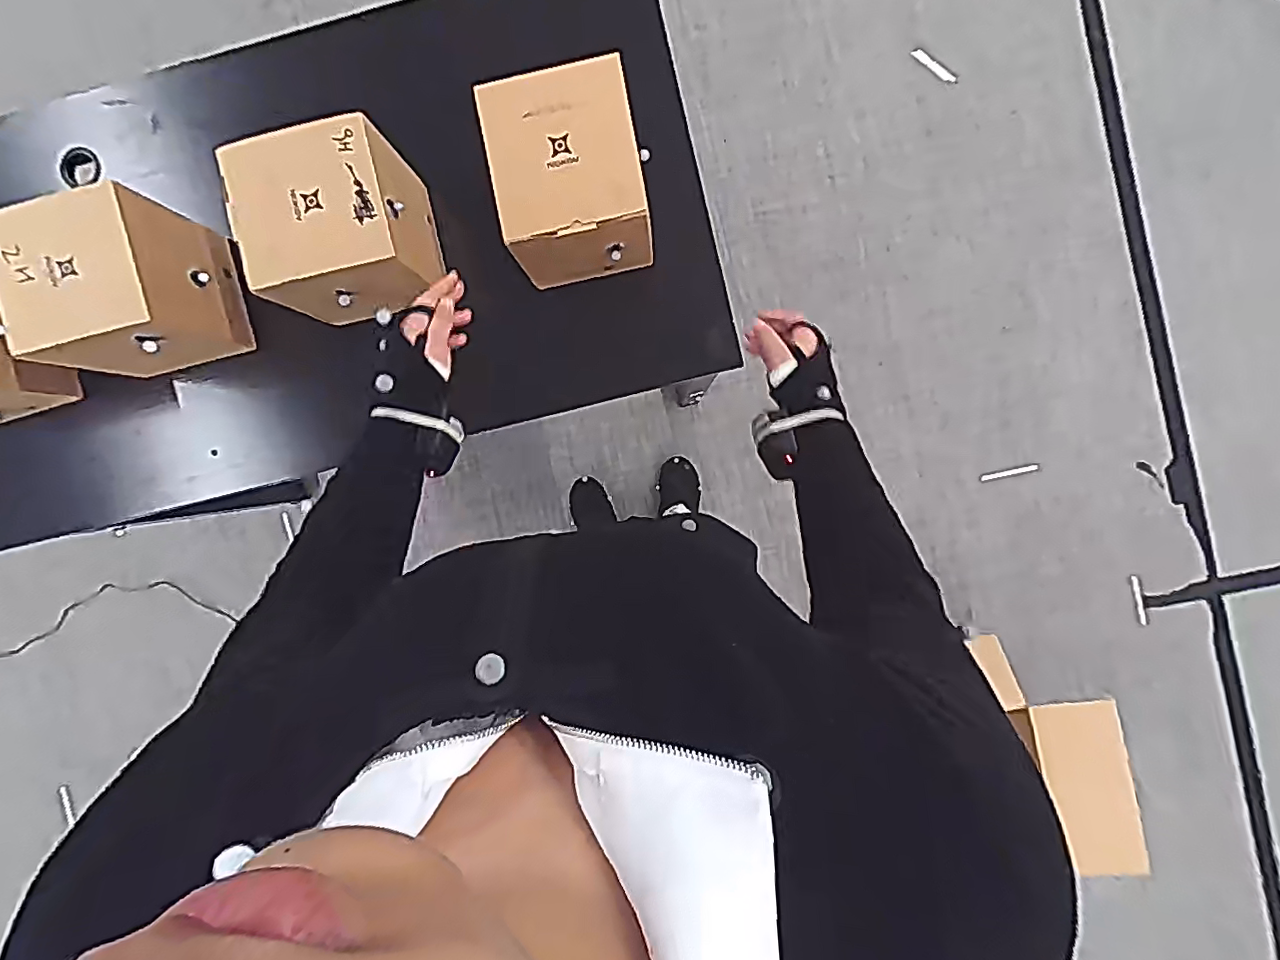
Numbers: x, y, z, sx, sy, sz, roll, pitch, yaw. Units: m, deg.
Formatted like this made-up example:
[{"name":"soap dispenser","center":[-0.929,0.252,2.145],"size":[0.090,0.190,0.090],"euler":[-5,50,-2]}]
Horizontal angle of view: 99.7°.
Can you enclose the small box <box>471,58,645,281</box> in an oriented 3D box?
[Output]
[{"name":"small box","center":[-0.089,-0.366,0.677],"size":[0.168,0.176,0.179],"euler":[-11,91,2]}]

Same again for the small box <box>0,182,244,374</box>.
[{"name":"small box","center":[-0.659,-0.246,0.700],"size":[0.179,0.176,0.168],"euler":[-14,92,2]}]

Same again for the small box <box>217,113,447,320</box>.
[{"name":"small box","center":[-0.375,-0.316,0.689],"size":[0.179,0.176,0.168],"euler":[-12,92,3]}]

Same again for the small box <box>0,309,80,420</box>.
[{"name":"small box","center":[-0.918,-0.181,0.713],"size":[0.168,0.176,0.179],"euler":[-16,93,3]}]
